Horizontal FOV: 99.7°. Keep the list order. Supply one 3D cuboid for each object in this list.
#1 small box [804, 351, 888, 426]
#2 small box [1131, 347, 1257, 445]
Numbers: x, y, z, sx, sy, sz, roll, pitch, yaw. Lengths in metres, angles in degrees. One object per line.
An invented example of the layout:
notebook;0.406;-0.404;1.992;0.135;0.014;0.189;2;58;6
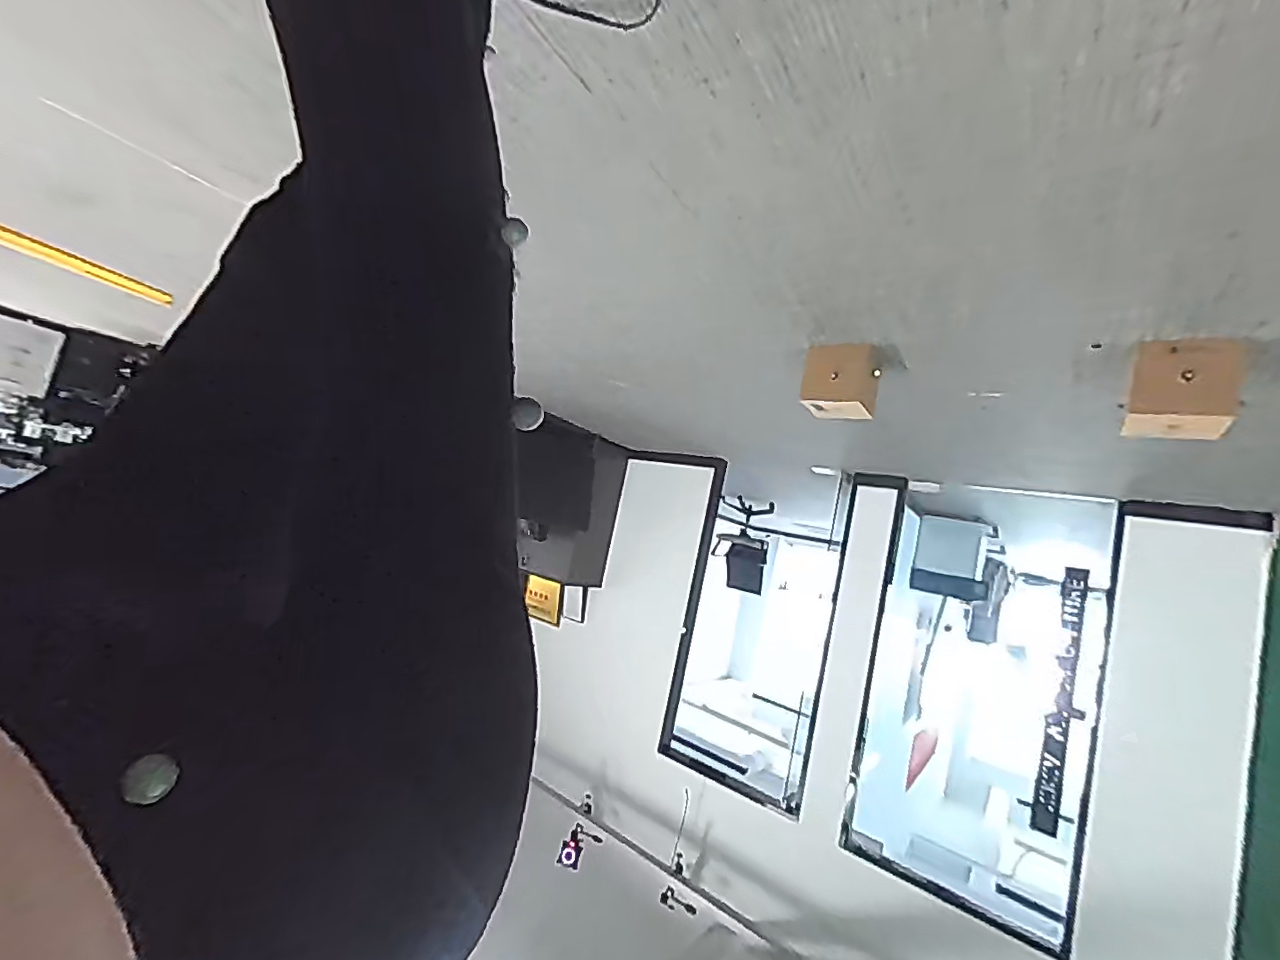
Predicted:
small box;0.604;-0.266;1.577;0.179;0.176;0.168;7;172;38
small box;1.192;-0.182;1.171;0.168;0.176;0.179;8;173;39
